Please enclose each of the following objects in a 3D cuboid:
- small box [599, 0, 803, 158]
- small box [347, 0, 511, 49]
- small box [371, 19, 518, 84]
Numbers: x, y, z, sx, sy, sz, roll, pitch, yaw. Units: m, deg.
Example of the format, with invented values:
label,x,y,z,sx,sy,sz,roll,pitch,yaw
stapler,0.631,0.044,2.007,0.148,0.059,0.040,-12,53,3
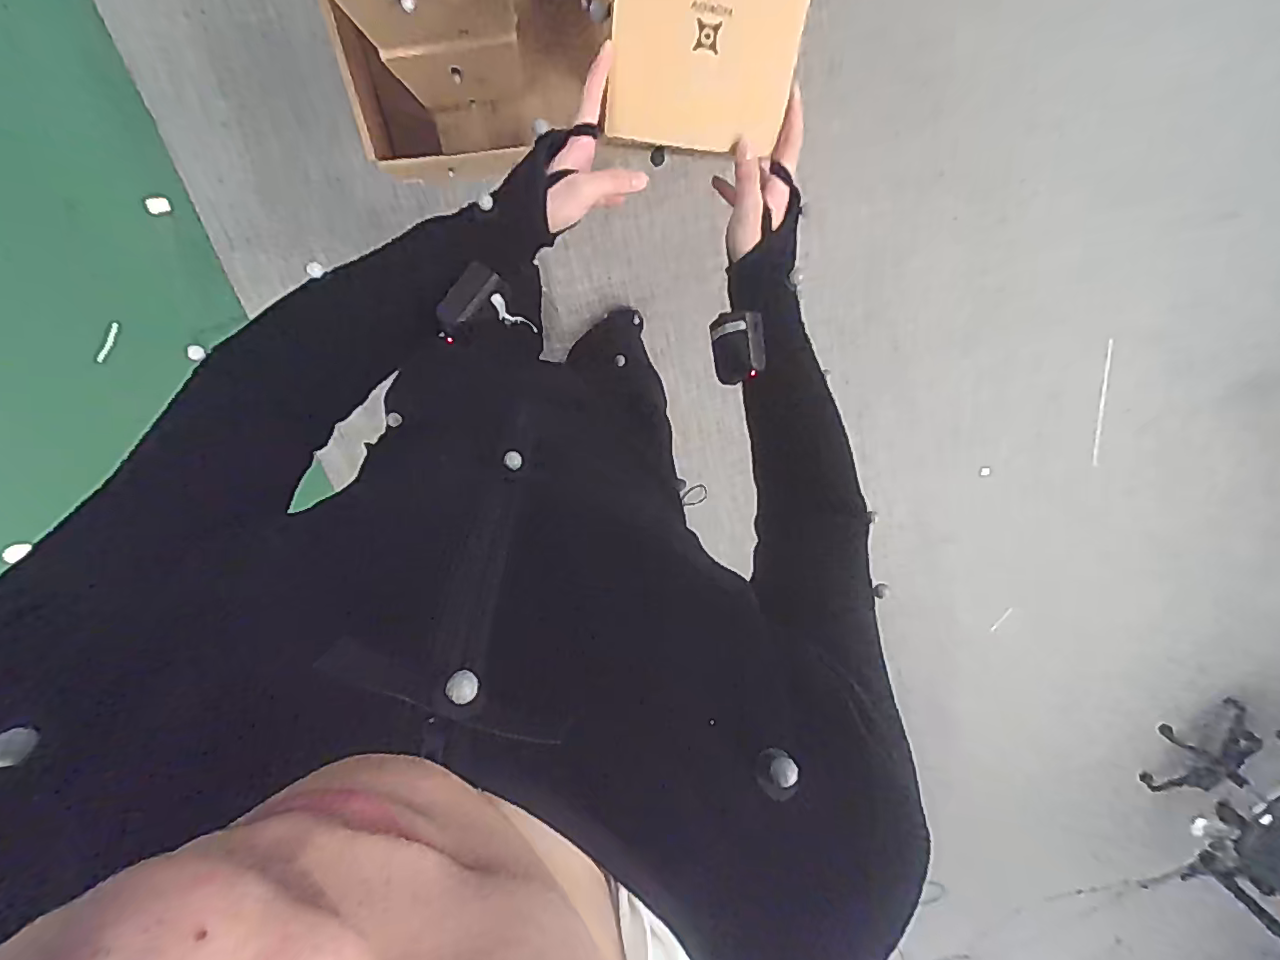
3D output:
label,x,y,z,sx,sy,sz,roll,pitch,yaw
small box,0.048,-0.425,0.528,0.168,0.176,0.179,3,118,-8
small box,-0.229,-0.564,0.529,0.168,0.176,0.179,-12,115,-5
small box,-0.254,-0.623,0.680,0.168,0.176,0.179,-12,116,-5
